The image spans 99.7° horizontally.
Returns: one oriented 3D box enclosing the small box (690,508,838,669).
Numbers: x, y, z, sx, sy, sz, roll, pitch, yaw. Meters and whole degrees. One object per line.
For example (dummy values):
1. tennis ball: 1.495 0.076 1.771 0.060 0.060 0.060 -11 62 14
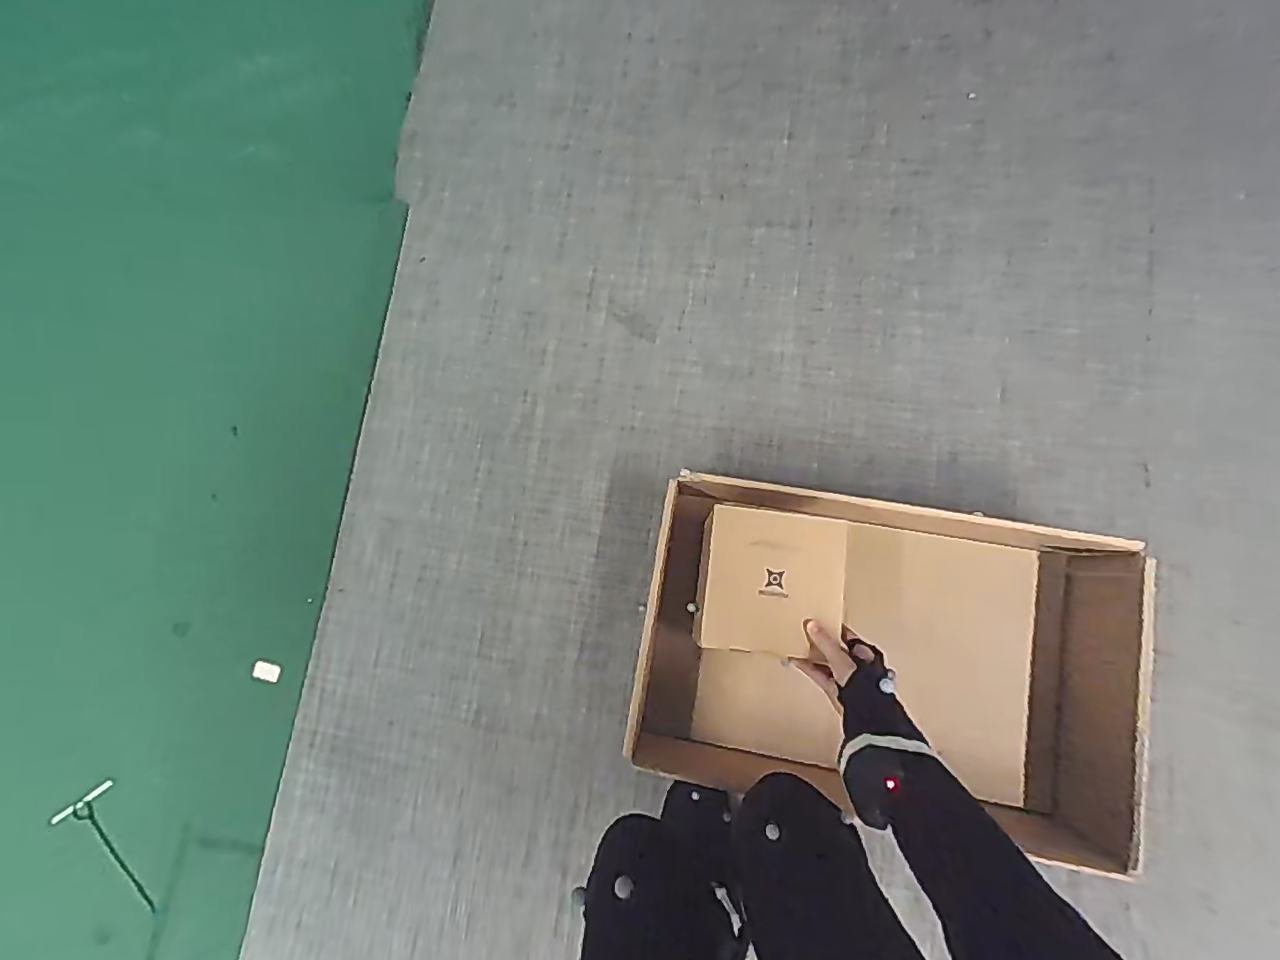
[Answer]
1. small box: 0.157 0.147 0.727 0.168 0.176 0.179 6 75 4
